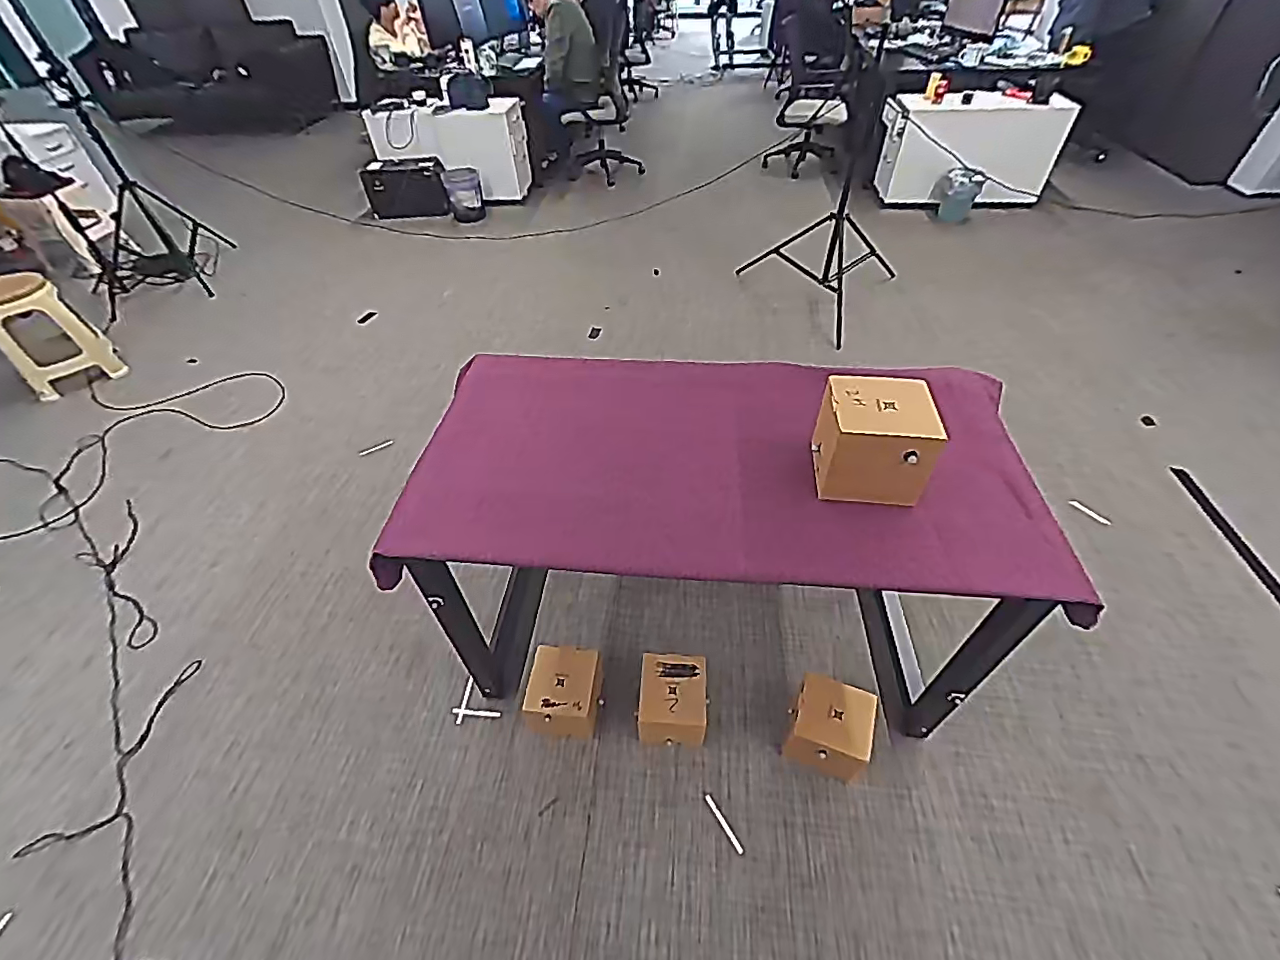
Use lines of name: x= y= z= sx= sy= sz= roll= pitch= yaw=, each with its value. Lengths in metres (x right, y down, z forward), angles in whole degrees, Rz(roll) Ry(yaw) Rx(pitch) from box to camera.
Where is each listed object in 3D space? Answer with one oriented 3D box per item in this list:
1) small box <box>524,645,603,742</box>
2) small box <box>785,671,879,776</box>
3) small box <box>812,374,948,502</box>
small box: x=-0.192 y=0.563 z=1.427 sx=0.168 sy=0.176 sz=0.179 roll=4 pitch=45 yaw=6
small box: x=0.476 y=0.613 z=1.351 sx=0.179 sy=0.176 sz=0.168 roll=15 pitch=49 yaw=18
small box: x=0.429 y=-0.075 z=1.000 sx=0.179 sy=0.176 sz=0.168 roll=4 pitch=46 yaw=7
